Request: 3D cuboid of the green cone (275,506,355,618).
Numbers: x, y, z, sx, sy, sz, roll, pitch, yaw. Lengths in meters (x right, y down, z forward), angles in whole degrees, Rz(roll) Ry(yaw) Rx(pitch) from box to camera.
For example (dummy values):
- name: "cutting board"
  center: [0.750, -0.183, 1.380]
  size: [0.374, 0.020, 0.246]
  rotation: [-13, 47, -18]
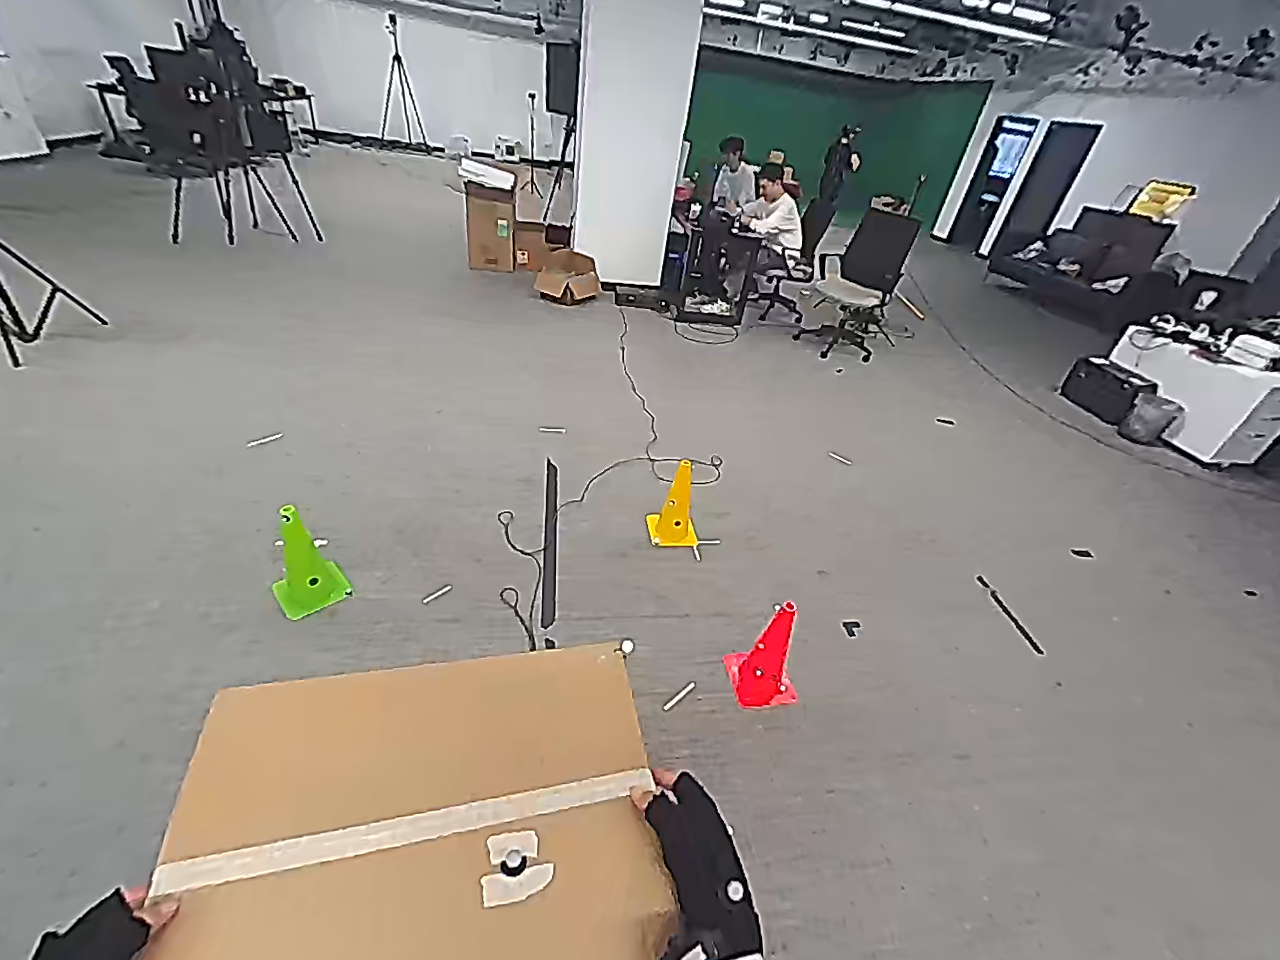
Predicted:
- name: "green cone"
  center: [-1.091, 0.229, 1.746]
  size: [0.202, 0.368, 0.200]
  rotation: [-27, 48, -38]

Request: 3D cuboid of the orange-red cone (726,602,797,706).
- name: "orange-red cone"
  center: [0.419, 0.514, 1.687]
  size: [0.198, 0.360, 0.199]
  rotation: [1, 34, -13]

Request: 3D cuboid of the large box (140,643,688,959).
- name: "large box"
  center: [-0.211, 0.415, 0.579]
  size: [0.408, 0.320, 0.320]
  rotation: [-1, 43, -17]
